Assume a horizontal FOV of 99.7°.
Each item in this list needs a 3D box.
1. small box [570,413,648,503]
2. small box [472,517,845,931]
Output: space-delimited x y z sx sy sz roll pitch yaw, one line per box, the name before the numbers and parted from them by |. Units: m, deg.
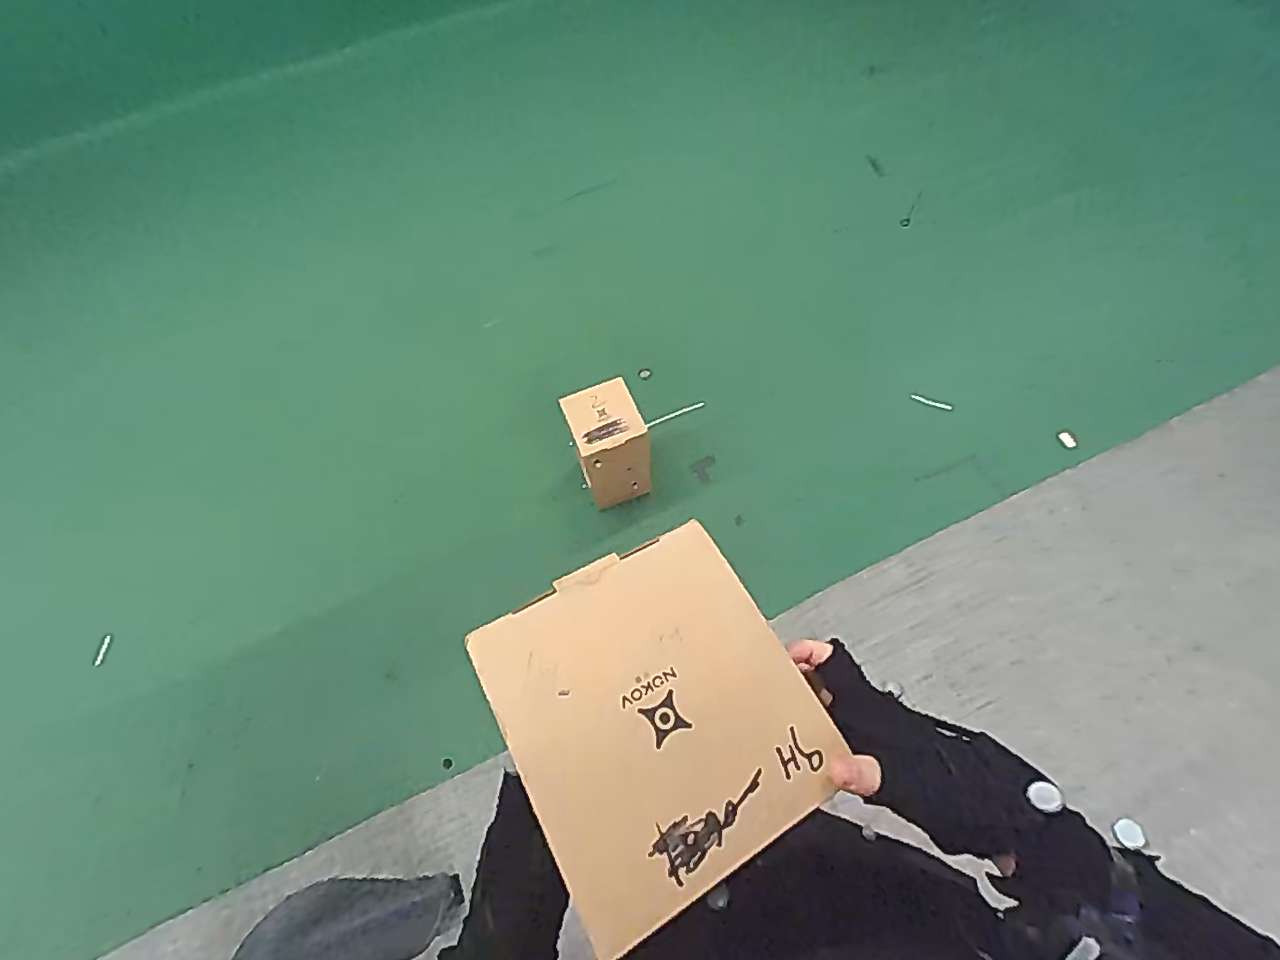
small box | -0.081 -0.051 1.502 0.168 0.176 0.179 -20 66 -6
small box | 0.001 0.161 0.388 0.168 0.176 0.179 -25 67 -16
